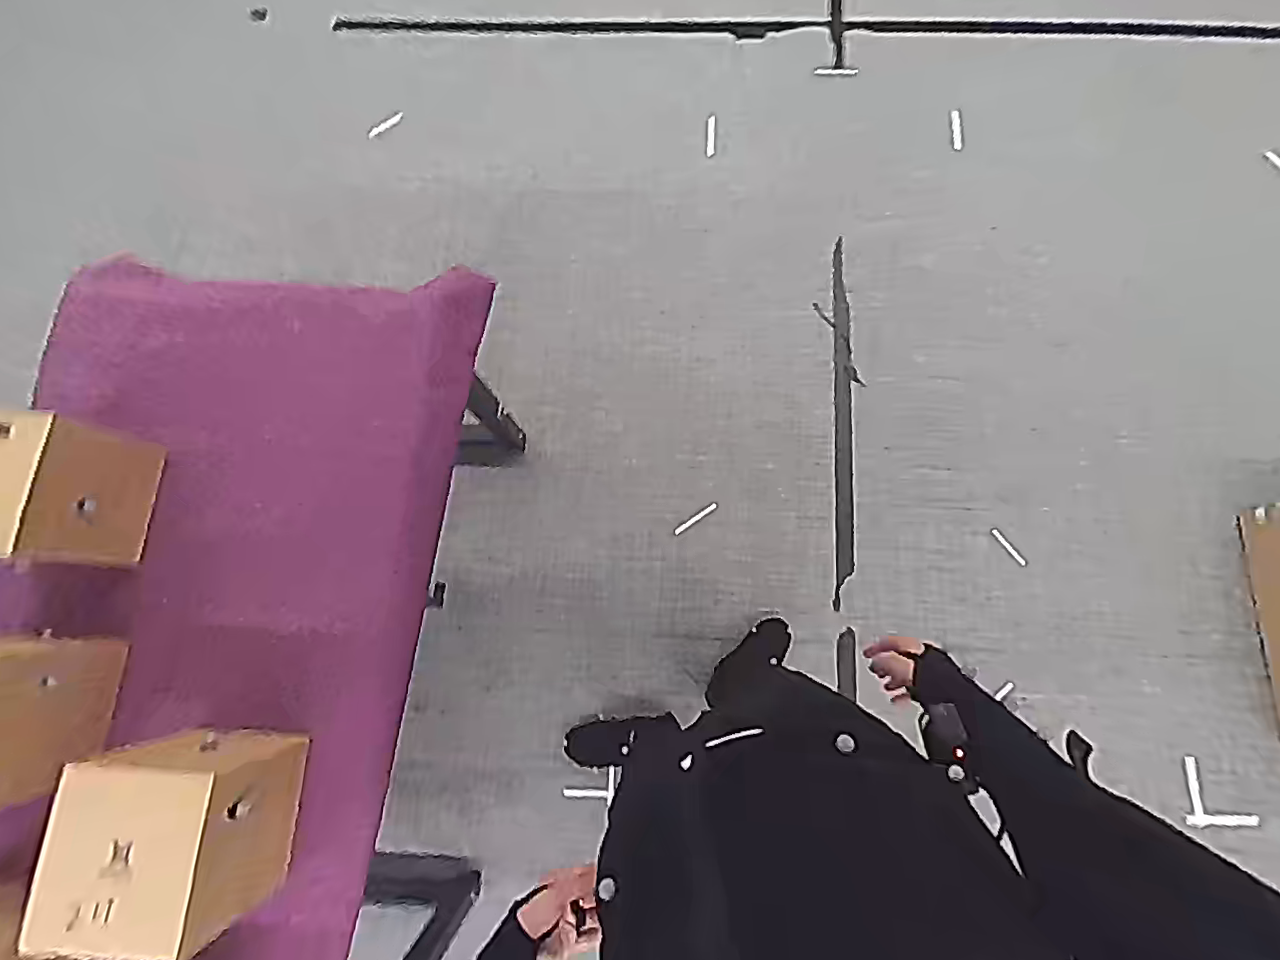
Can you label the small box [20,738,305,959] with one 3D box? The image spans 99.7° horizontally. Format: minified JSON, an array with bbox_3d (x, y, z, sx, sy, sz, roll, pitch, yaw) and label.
[{"bbox_3d":[-0.527,0.414,0.629,0.168,0.176,0.179,3,78,2],"label":"small box"}]
